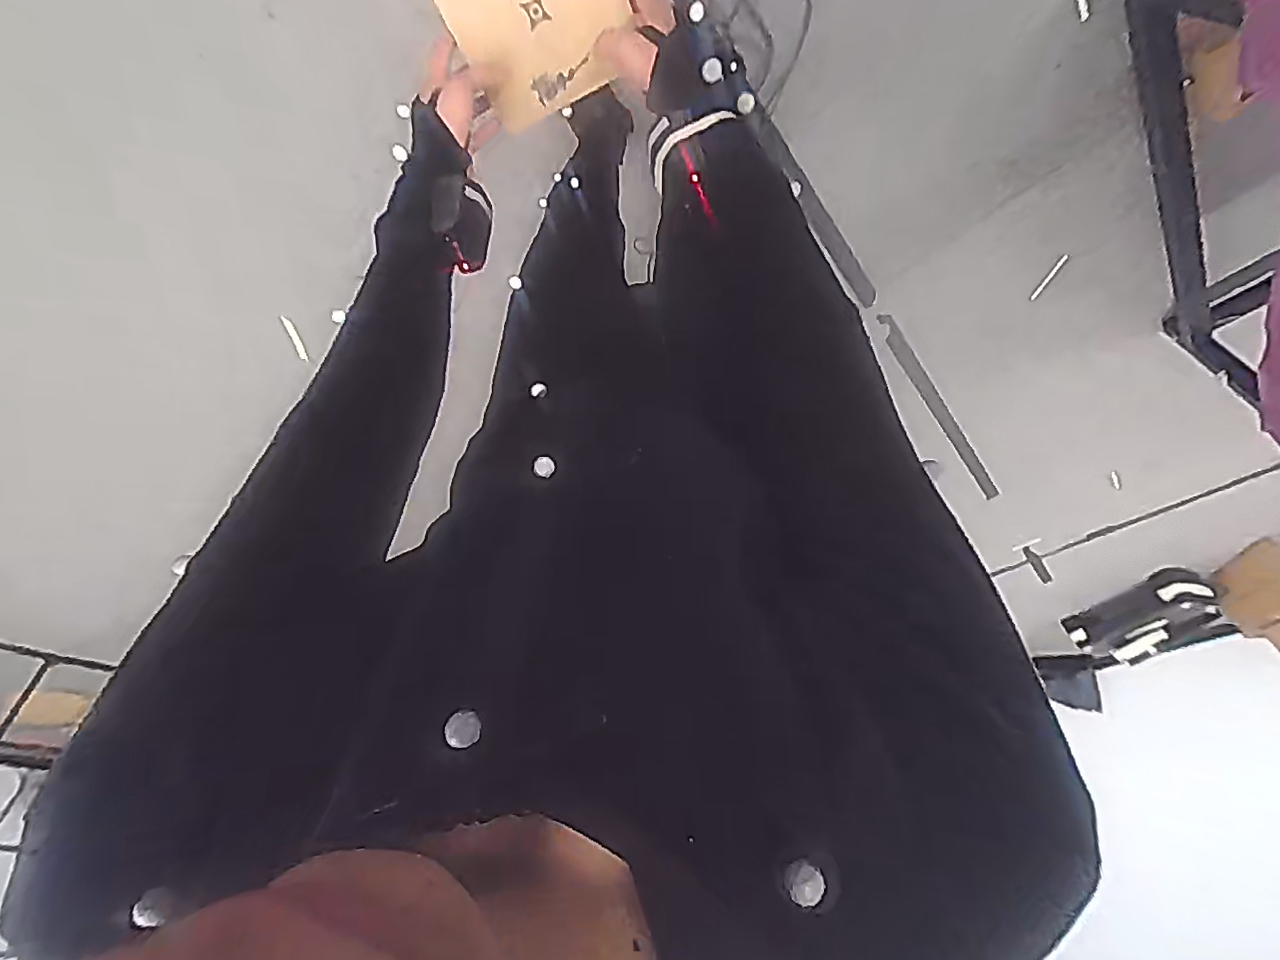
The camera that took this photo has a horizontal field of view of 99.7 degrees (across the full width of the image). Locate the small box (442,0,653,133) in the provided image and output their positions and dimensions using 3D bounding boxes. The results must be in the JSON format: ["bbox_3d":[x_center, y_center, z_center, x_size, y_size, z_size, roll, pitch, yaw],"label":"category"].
[{"bbox_3d":[-0.098,-0.502,0.547,0.168,0.176,0.179,-17,138,15],"label":"small box"}]
